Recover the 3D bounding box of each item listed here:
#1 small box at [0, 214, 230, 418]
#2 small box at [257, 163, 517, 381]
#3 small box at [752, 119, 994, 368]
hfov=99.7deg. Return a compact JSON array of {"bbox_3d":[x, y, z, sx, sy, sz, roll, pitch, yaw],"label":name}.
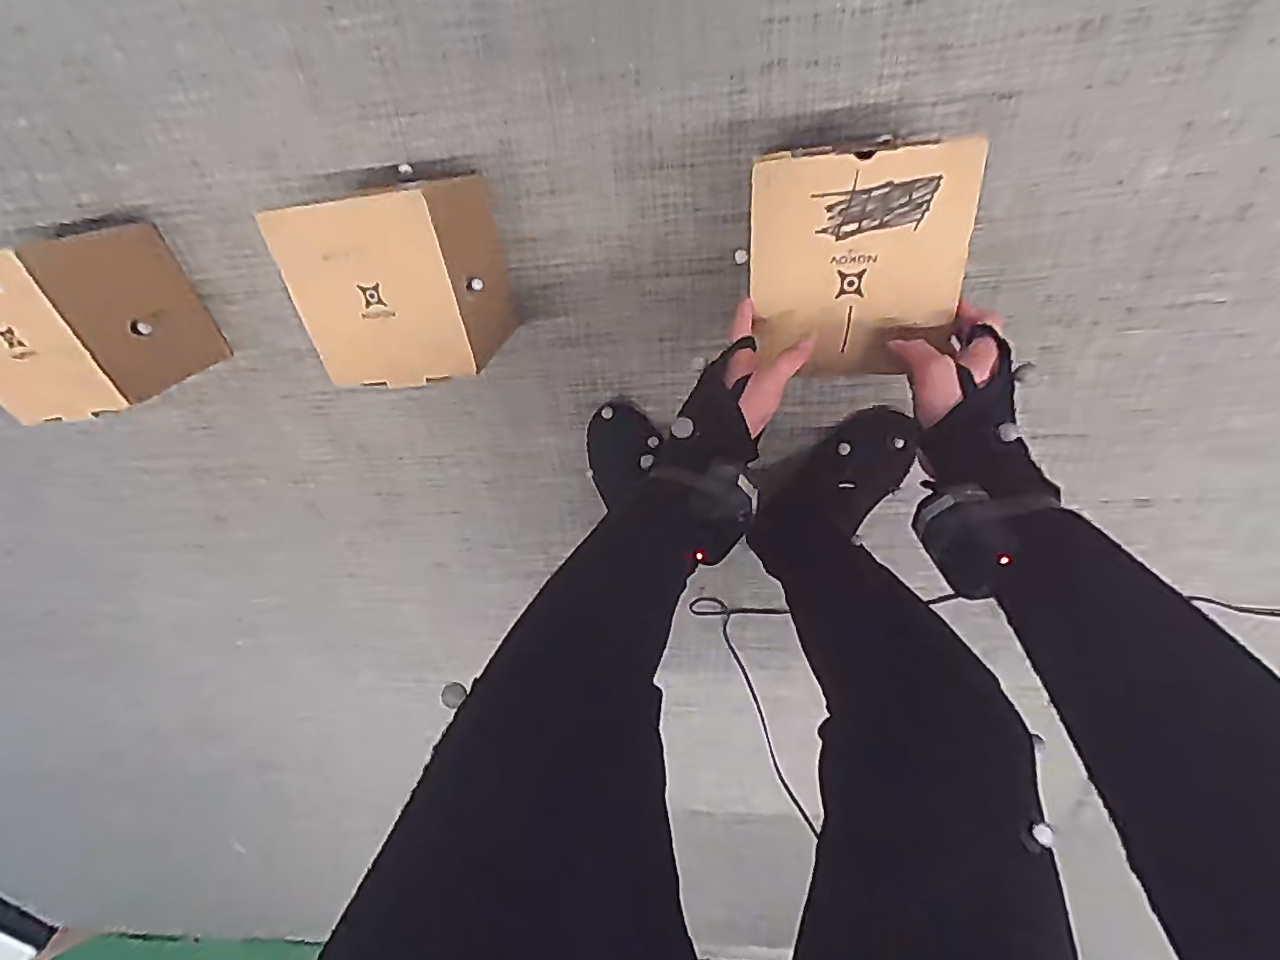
[{"bbox_3d":[-0.657,-0.198,0.650,0.168,0.176,0.179,-6,125,11],"label":"small box"},{"bbox_3d":[-0.247,-0.227,0.585,0.168,0.176,0.179,-4,124,8],"label":"small box"},{"bbox_3d":[0.189,-0.215,0.497,0.168,0.176,0.179,2,121,13],"label":"small box"}]
